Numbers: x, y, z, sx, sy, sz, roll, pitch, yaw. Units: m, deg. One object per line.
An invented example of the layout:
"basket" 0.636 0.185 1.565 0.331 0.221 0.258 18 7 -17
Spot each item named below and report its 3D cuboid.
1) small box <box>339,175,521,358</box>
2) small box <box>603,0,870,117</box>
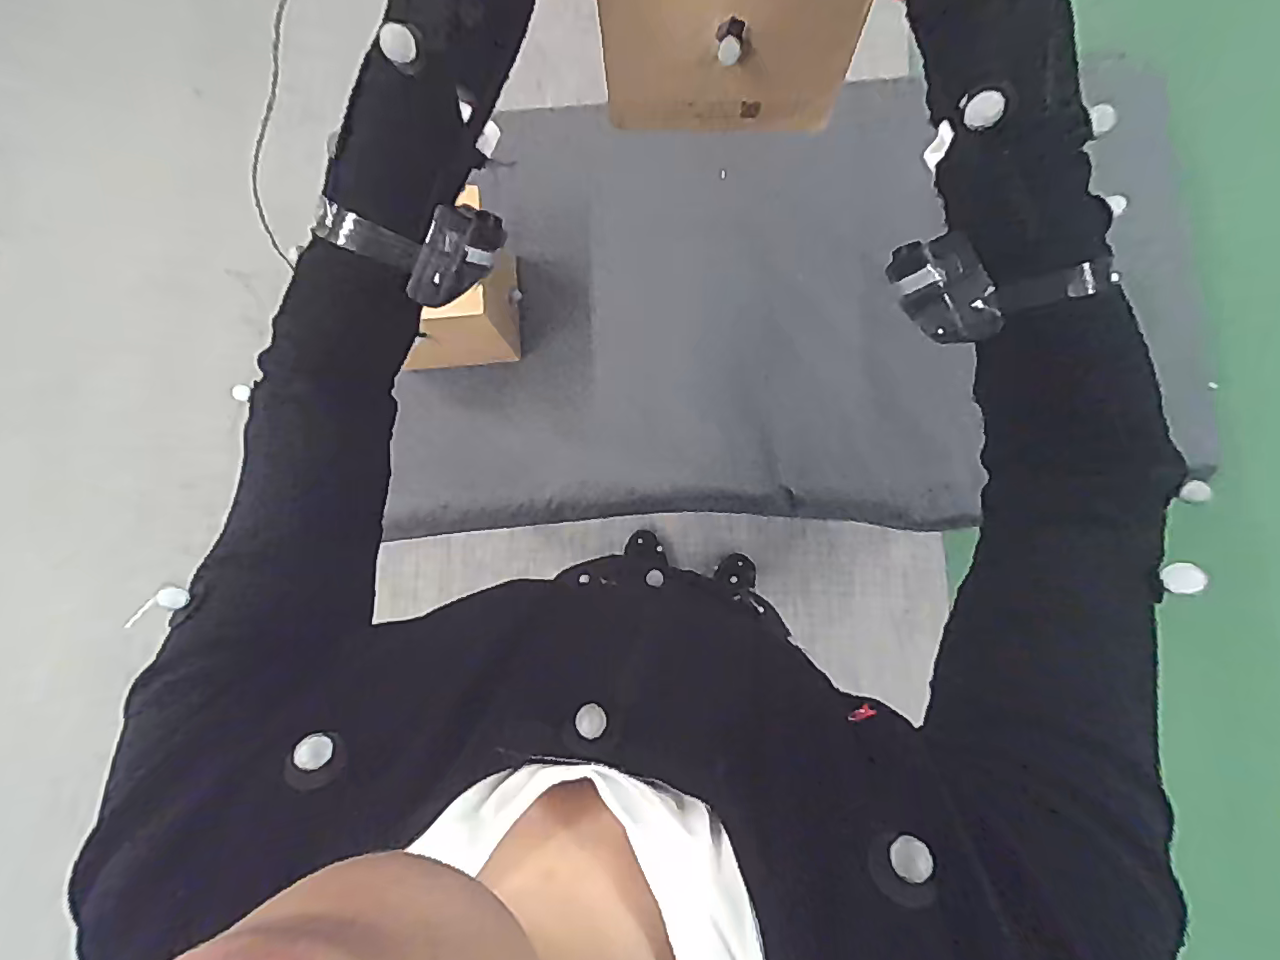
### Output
"small box" -0.269 -0.270 0.721 0.179 0.176 0.168 -4 85 2
"small box" 0.062 -0.366 0.341 0.168 0.176 0.179 2 83 3
